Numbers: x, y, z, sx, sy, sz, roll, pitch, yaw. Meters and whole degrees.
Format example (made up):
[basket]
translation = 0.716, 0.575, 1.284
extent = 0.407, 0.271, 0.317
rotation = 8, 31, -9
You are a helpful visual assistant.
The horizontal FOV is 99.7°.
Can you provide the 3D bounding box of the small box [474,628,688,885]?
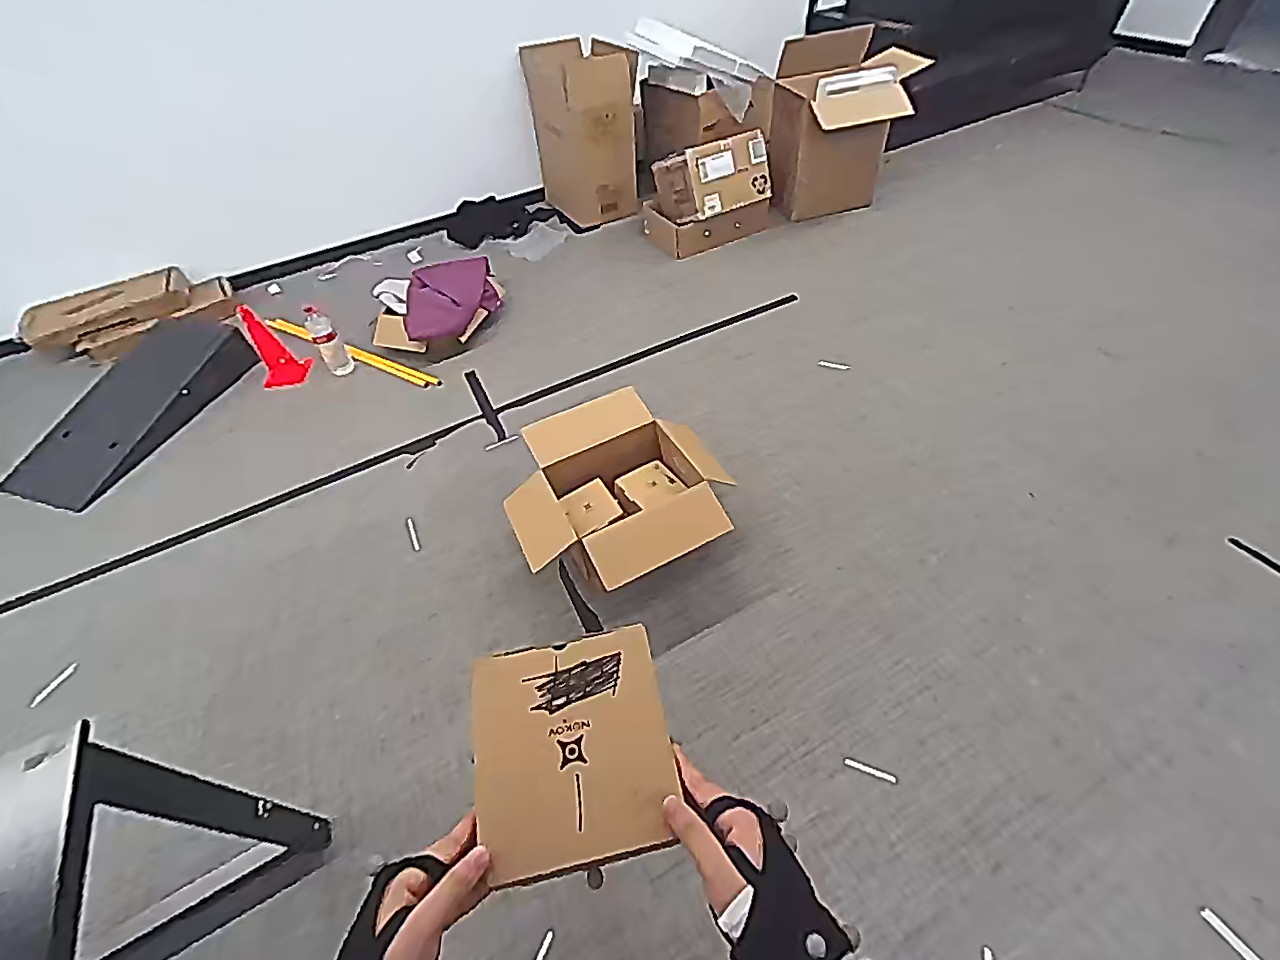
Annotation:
[small box]
translation = -0.057, 0.271, 0.528
extent = 0.168, 0.176, 0.179
rotation = -11, 55, -6
